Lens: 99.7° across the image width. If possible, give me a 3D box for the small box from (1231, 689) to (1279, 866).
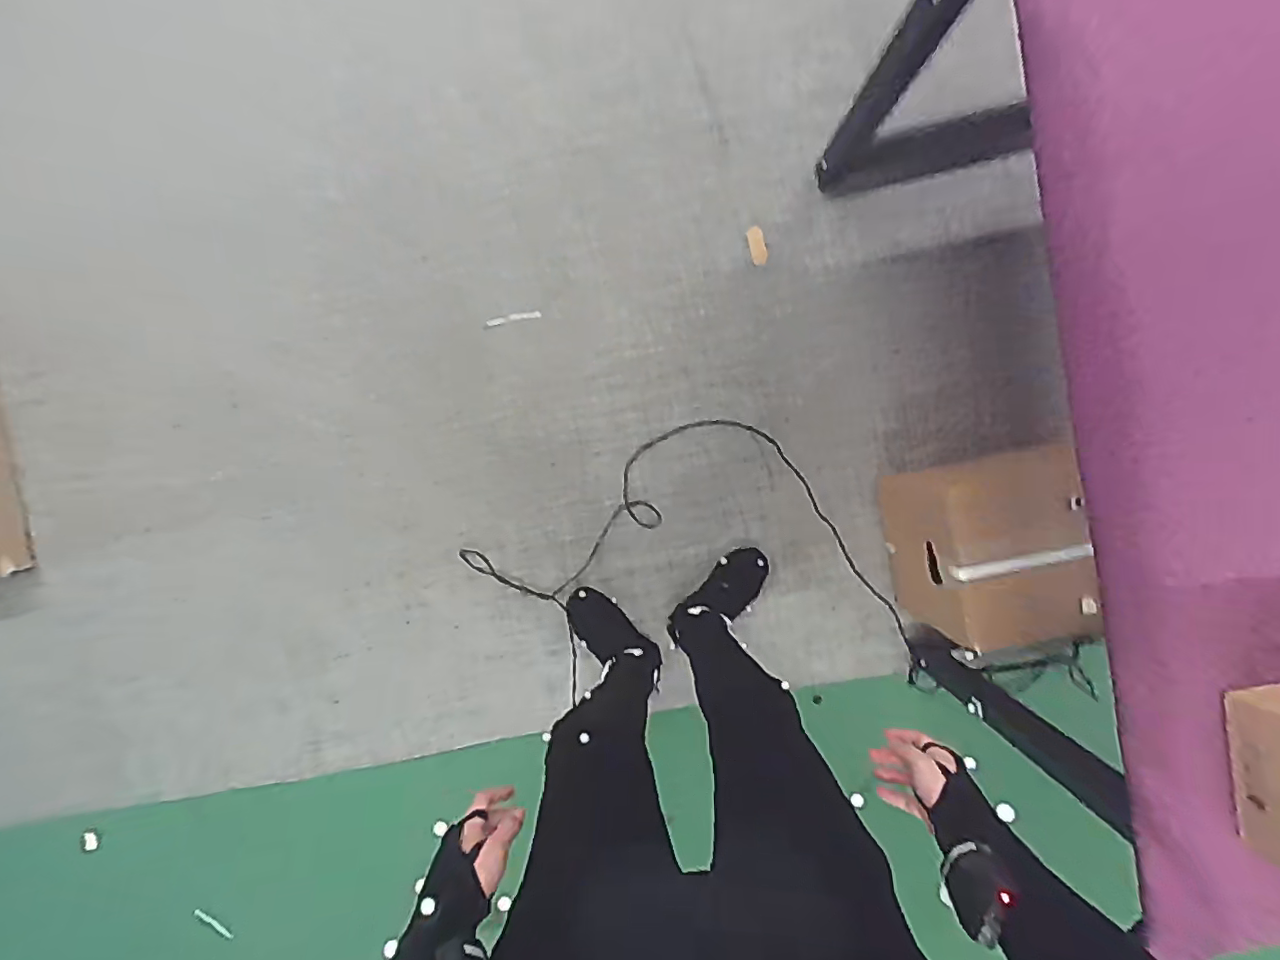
[{"bbox_3d":[0.694,0.288,0.471,0.179,0.176,0.168,-9,91,0],"label":"small box"}]
